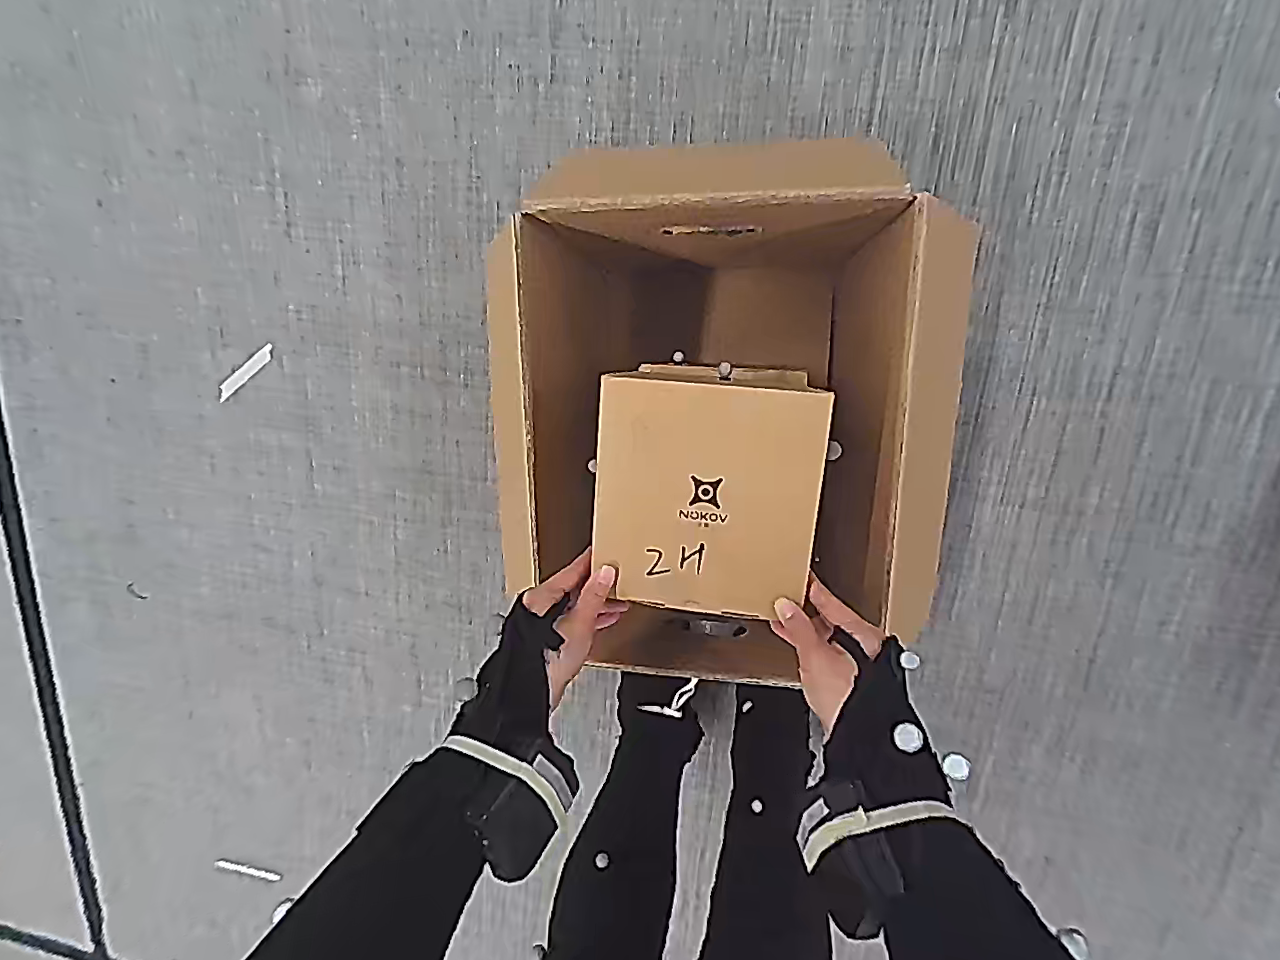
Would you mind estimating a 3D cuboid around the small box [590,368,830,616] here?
[{"bbox_3d":[0.058,-0.005,0.482,0.168,0.176,0.179,6,103,8],"label":"small box"}]
